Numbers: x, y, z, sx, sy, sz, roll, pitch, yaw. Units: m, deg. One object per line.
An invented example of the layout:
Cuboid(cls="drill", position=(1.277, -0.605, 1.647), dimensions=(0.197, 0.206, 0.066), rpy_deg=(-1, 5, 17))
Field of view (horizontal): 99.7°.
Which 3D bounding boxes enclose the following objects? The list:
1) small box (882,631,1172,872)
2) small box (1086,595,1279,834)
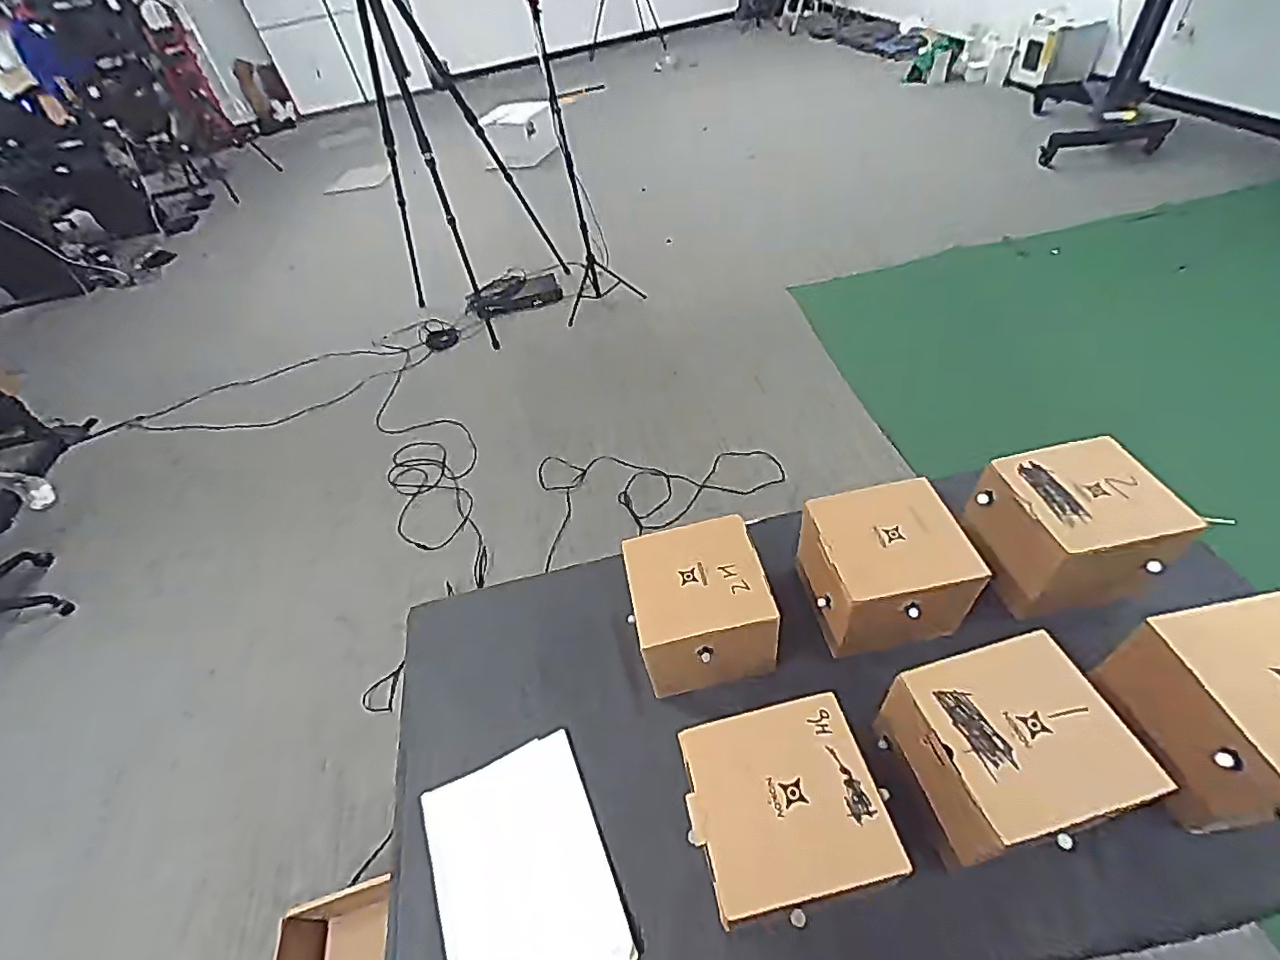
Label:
Cuboid(cls="small box", position=(0.387, 0.297, 0.587), dimensions=(0.179, 0.176, 0.168), rpy_deg=(-15, 47, -4))
Cuboid(cls="small box", position=(0.645, 0.253, 0.583), dimensions=(0.168, 0.176, 0.179), rpy_deg=(-11, 46, 0))
